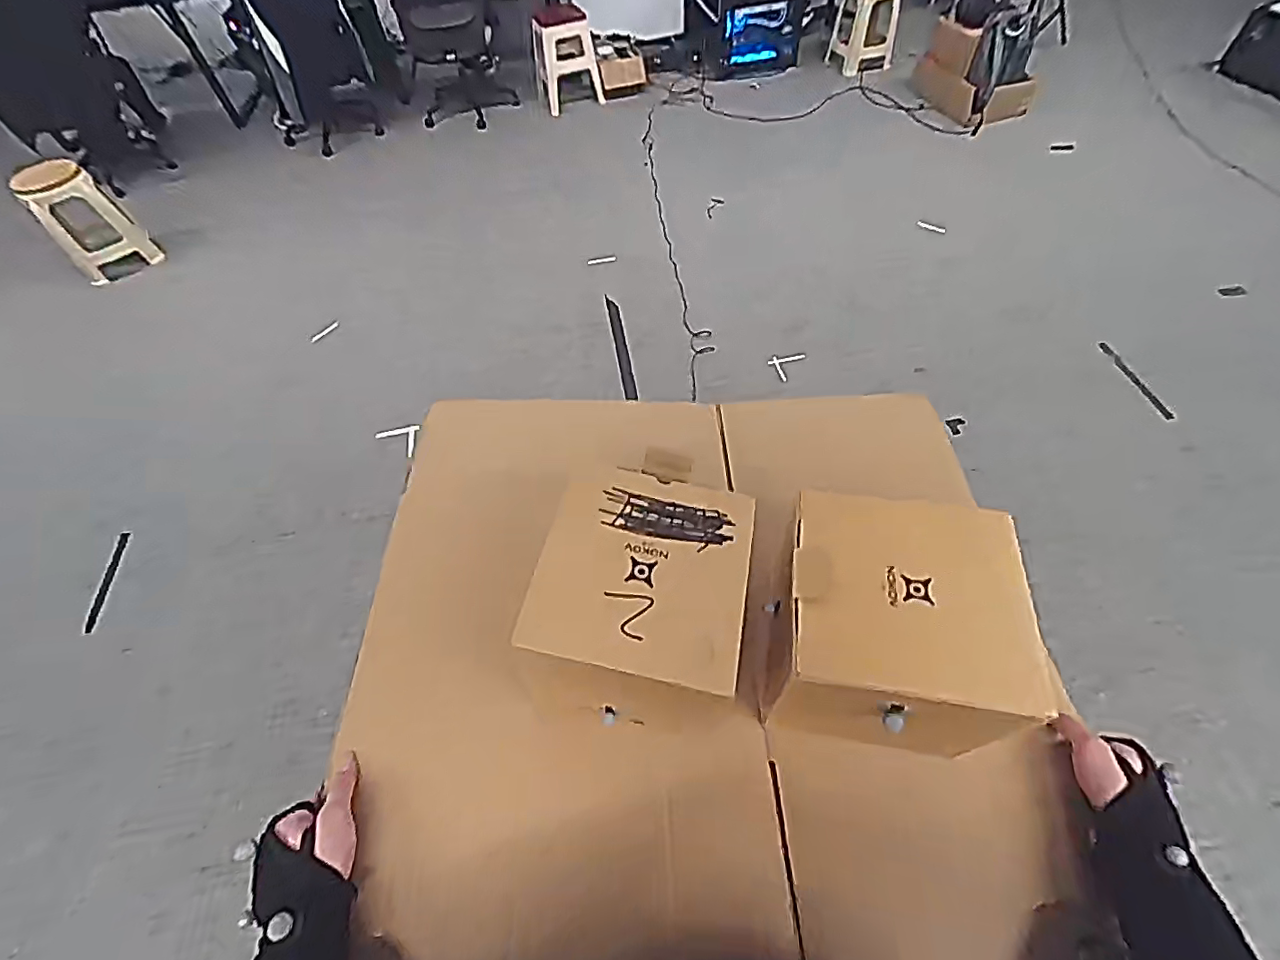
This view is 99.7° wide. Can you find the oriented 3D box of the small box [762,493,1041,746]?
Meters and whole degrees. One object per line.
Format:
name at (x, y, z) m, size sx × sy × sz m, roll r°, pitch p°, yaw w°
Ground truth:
small box at (0.216, 0.134, 0.497) m, size 0.179 × 0.176 × 0.168 m, roll 7°, pitch 56°, yaw 9°
